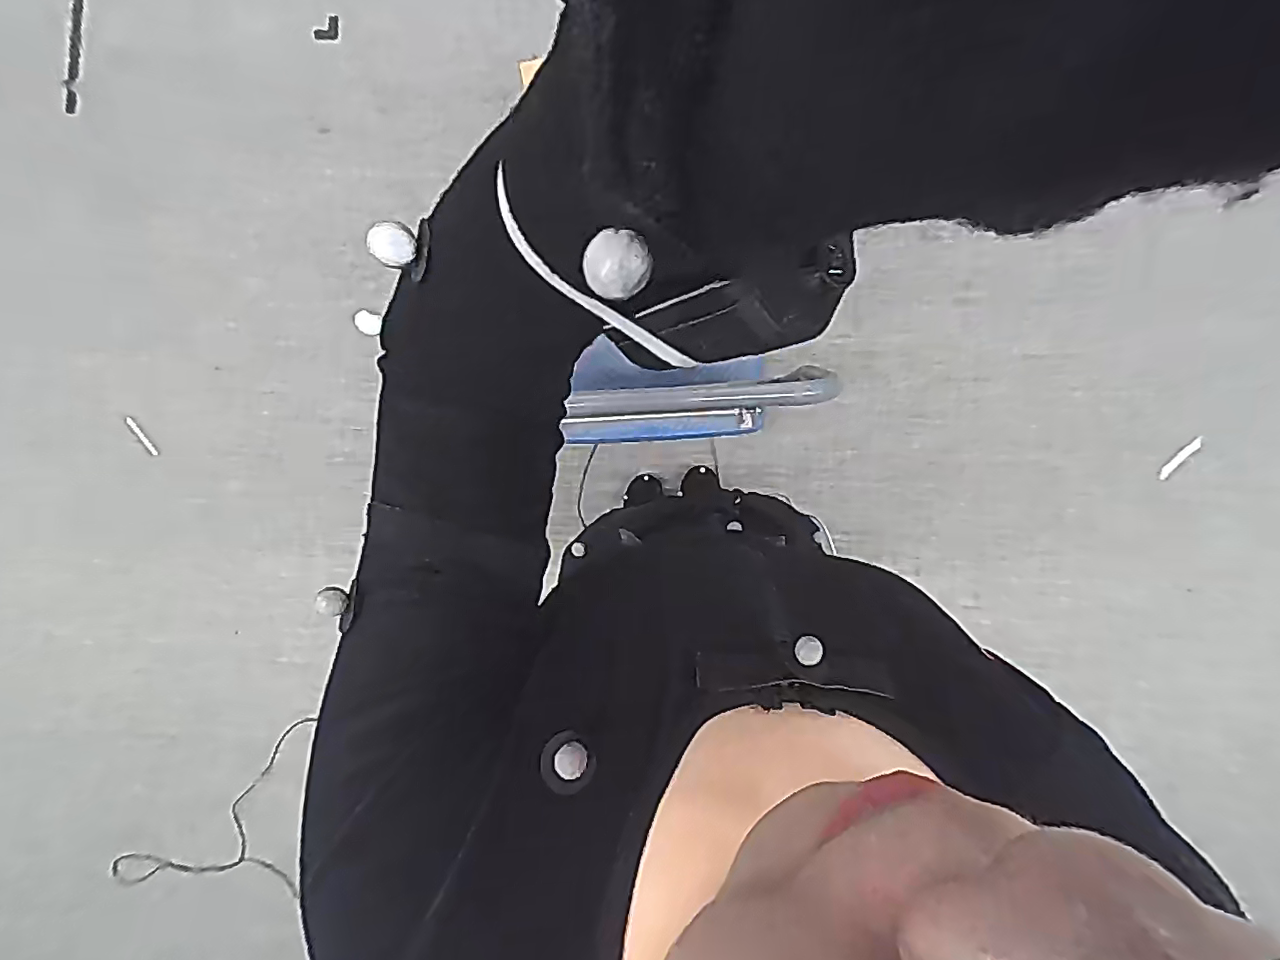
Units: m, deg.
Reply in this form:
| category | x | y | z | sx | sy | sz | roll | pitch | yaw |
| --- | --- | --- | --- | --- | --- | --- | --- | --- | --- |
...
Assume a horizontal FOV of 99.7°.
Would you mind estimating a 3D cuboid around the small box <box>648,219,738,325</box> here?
| category | x | y | z | sx | sy | sz | roll | pitch | yaw |
| --- | --- | --- | --- | --- | --- | --- | --- | --- | --- |
| small box | 0.117 | -0.469 | 1.245 | 0.179 | 0.176 | 0.168 | -9 | 90 | 1 |

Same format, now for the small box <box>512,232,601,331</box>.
| category | x | y | z | sx | sy | sz | roll | pitch | yaw |
| --- | --- | --- | --- | --- | --- | --- | --- | --- | --- |
| small box | -0.187 | -0.452 | 1.252 | 0.179 | 0.176 | 0.168 | 3 | 90 | 0 |
